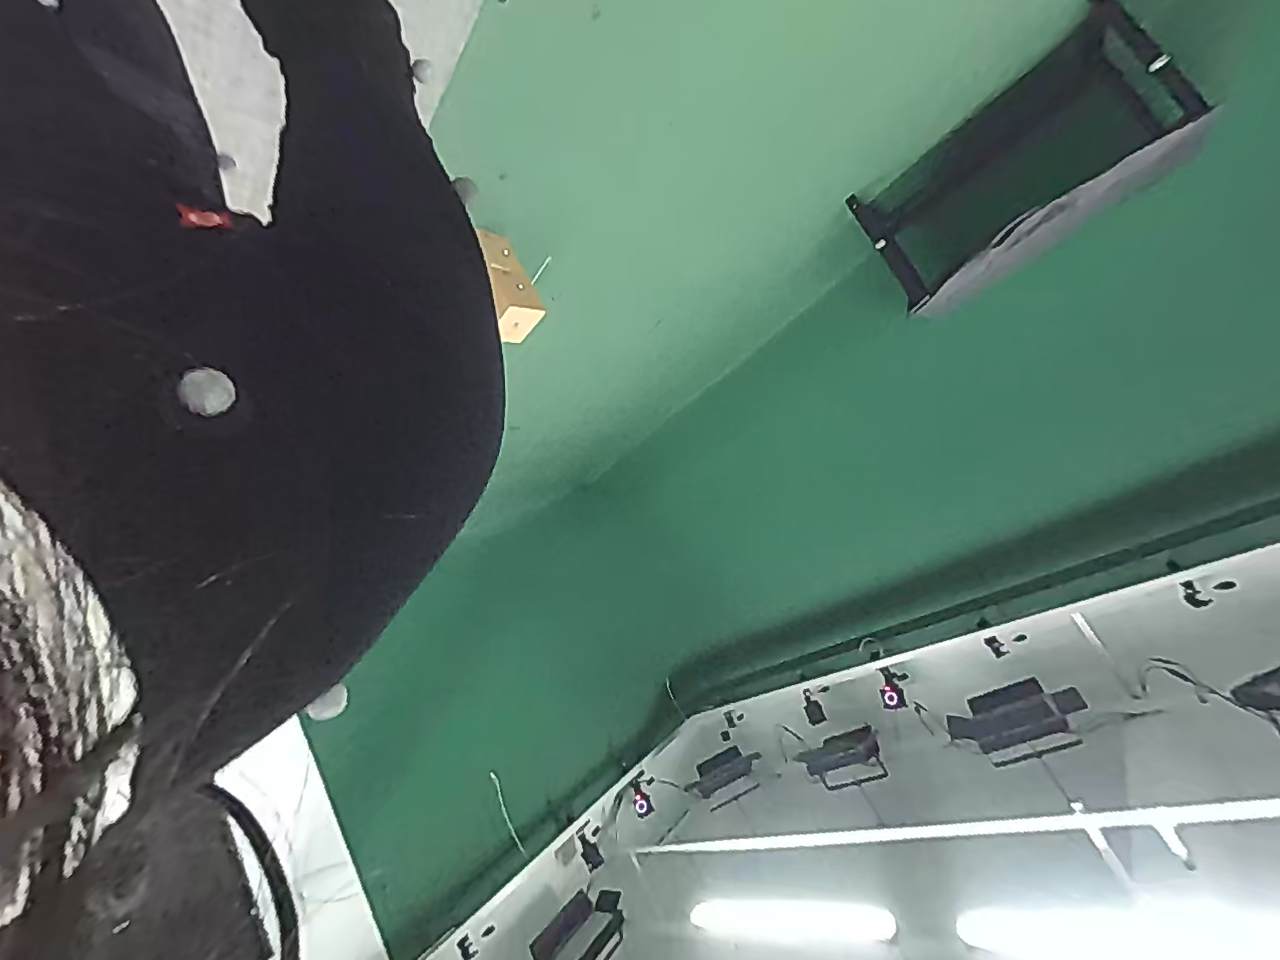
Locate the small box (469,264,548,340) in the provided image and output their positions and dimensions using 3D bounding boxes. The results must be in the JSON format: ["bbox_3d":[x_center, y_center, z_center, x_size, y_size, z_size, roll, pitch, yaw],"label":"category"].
[{"bbox_3d":[-0.452,-0.604,1.842,0.179,0.176,0.168,-35,167,35],"label":"small box"}]
